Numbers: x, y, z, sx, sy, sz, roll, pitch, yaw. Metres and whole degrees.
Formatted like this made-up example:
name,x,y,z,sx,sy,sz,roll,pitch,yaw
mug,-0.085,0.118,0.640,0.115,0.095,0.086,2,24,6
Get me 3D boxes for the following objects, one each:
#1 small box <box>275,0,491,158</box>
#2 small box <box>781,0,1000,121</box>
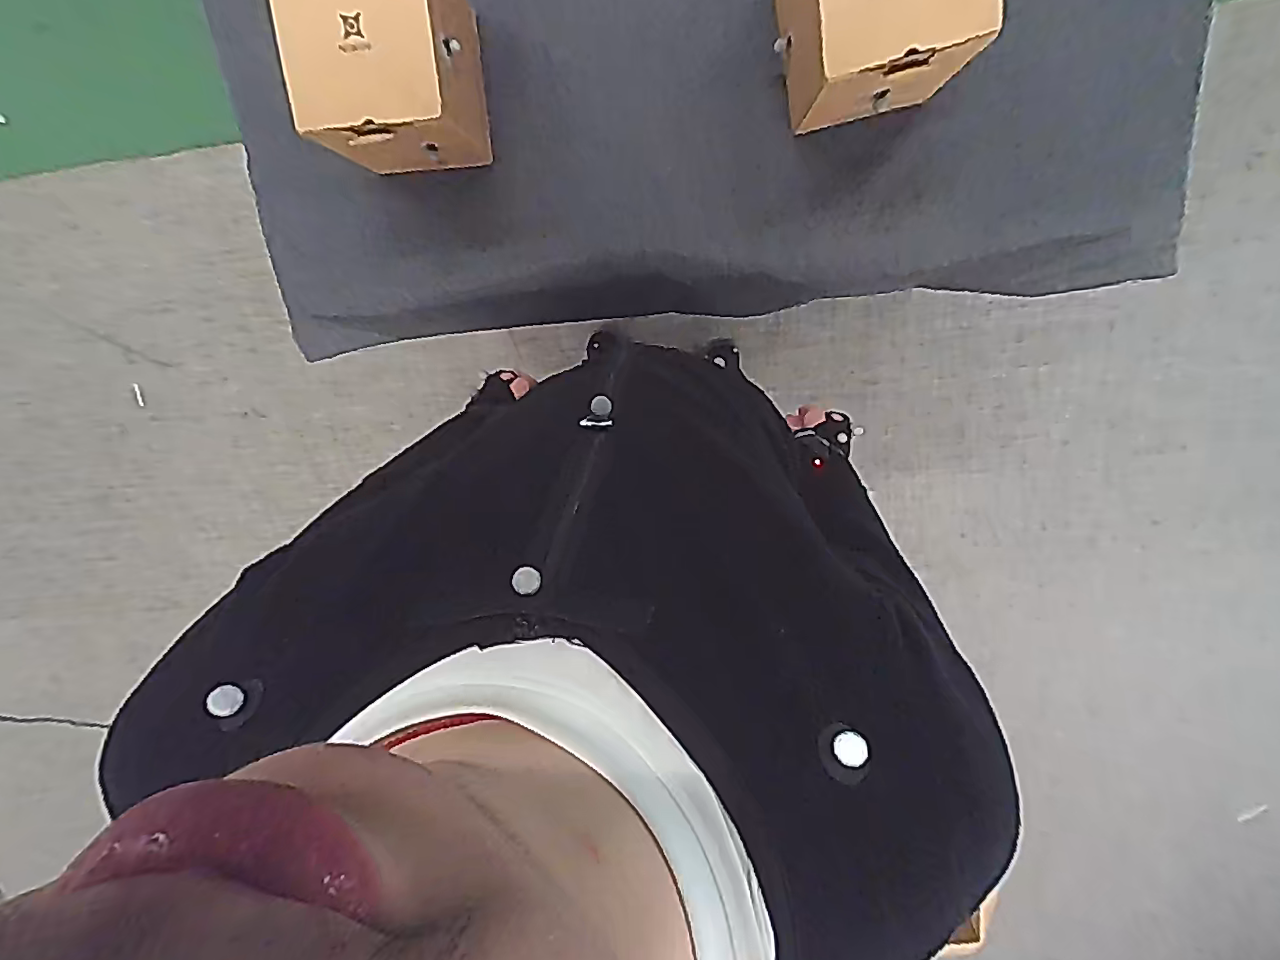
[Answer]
name,x,y,z,sx,sy,sz,roll,pitch,yaw
small box,-0.282,-0.489,0.623,0.168,0.176,0.179,-2,105,3
small box,0.253,-0.514,0.578,0.168,0.176,0.179,-11,106,7
